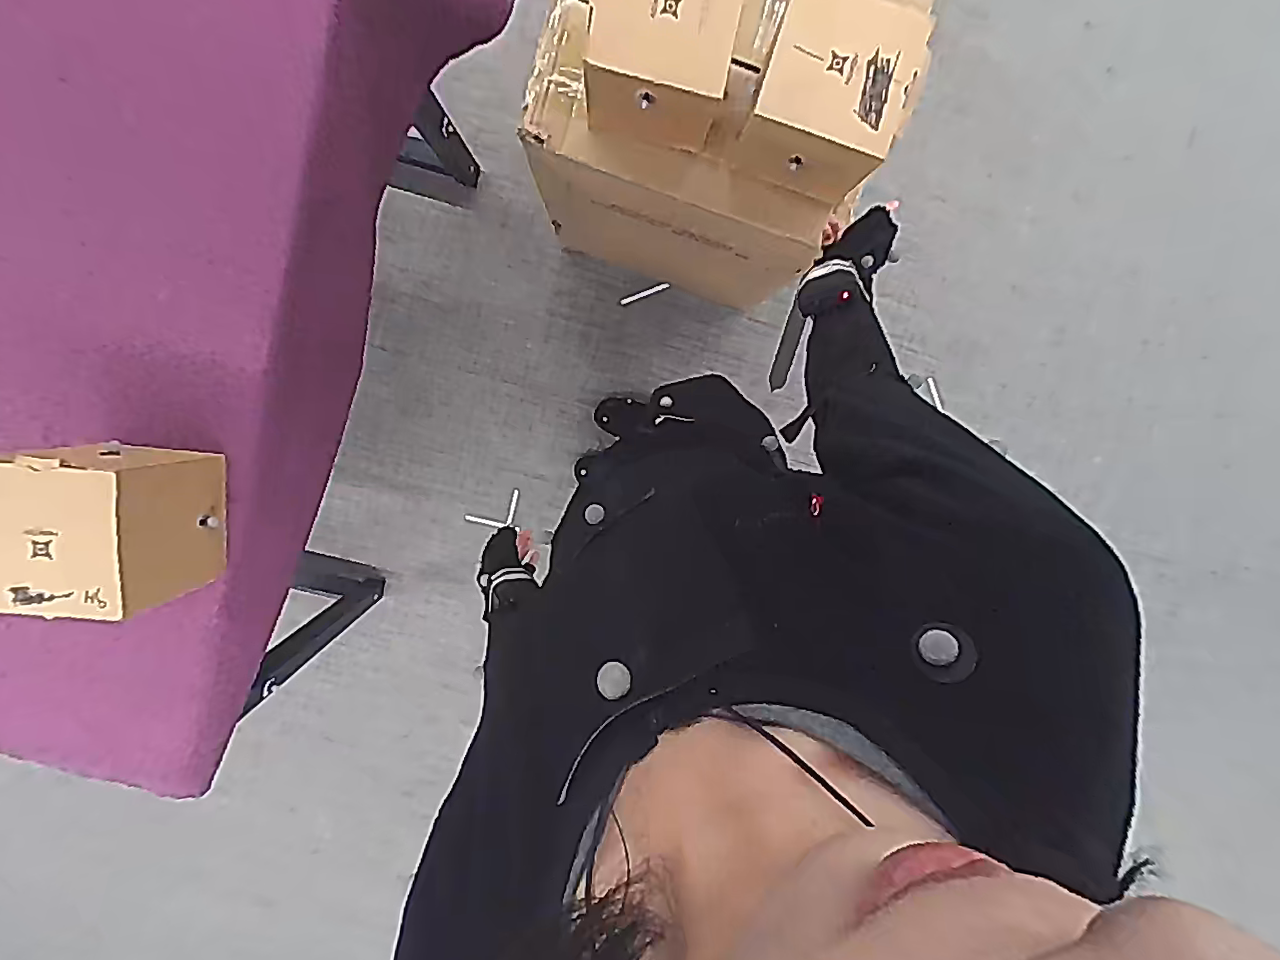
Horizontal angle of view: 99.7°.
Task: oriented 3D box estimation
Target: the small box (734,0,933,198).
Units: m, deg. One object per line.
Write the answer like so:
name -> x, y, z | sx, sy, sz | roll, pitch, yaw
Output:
small box -> 0.244, -0.508, 0.729 | 0.179, 0.176, 0.168 | 17, 98, -2

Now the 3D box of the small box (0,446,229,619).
small box -> -0.651, 0.053, 0.671 | 0.168, 0.176, 0.179 | 5, 97, -2

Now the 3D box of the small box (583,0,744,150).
small box -> 0.029, -0.570, 0.713 | 0.179, 0.176, 0.168 | 12, 99, -5
